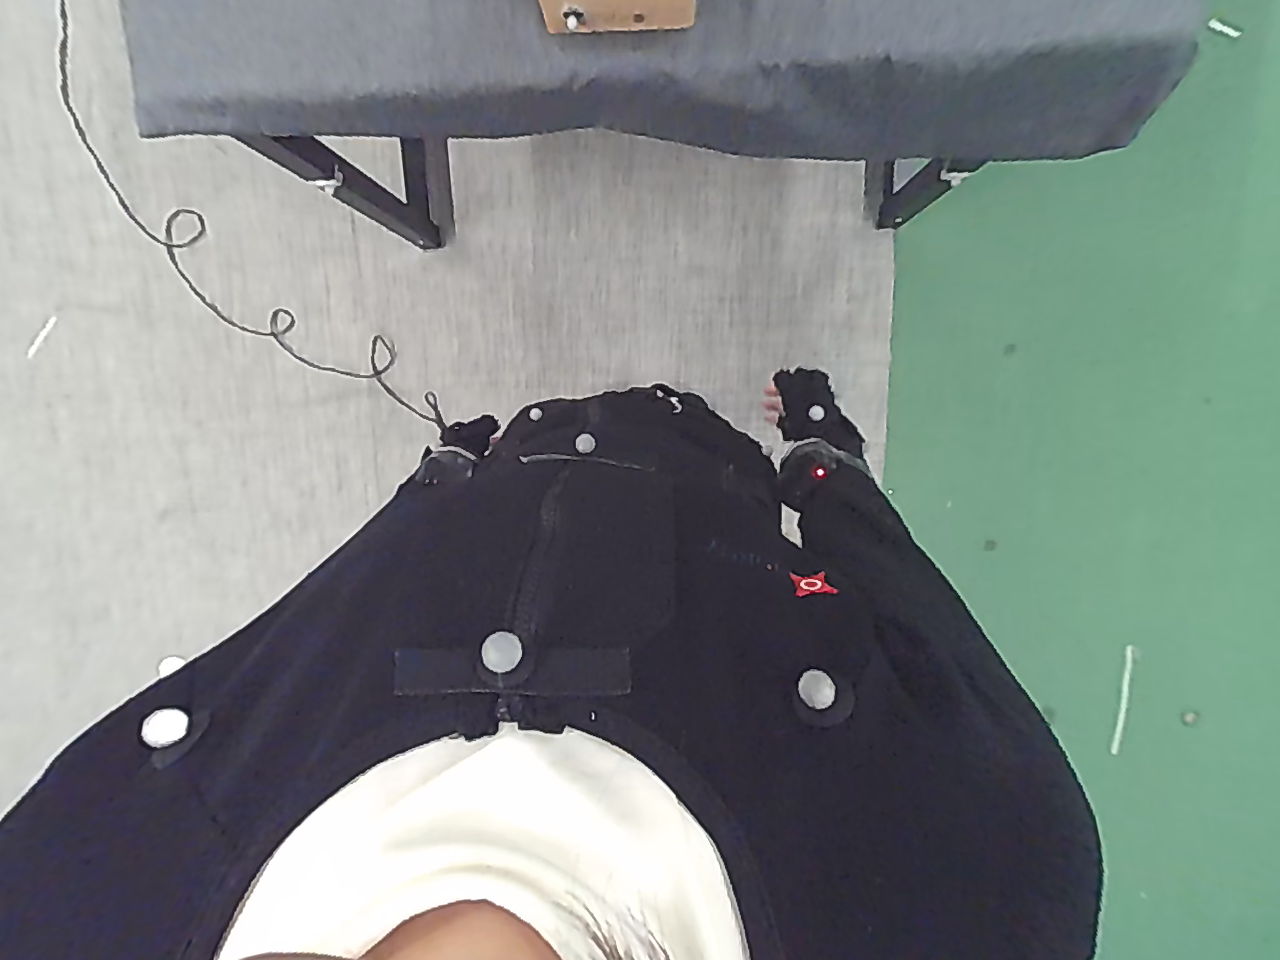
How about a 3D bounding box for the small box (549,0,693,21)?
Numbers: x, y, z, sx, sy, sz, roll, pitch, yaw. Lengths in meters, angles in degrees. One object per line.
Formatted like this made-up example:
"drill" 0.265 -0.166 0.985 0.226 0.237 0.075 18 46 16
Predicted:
"small box" -0.025 -0.595 0.530 0.168 0.176 0.179 0 97 2
